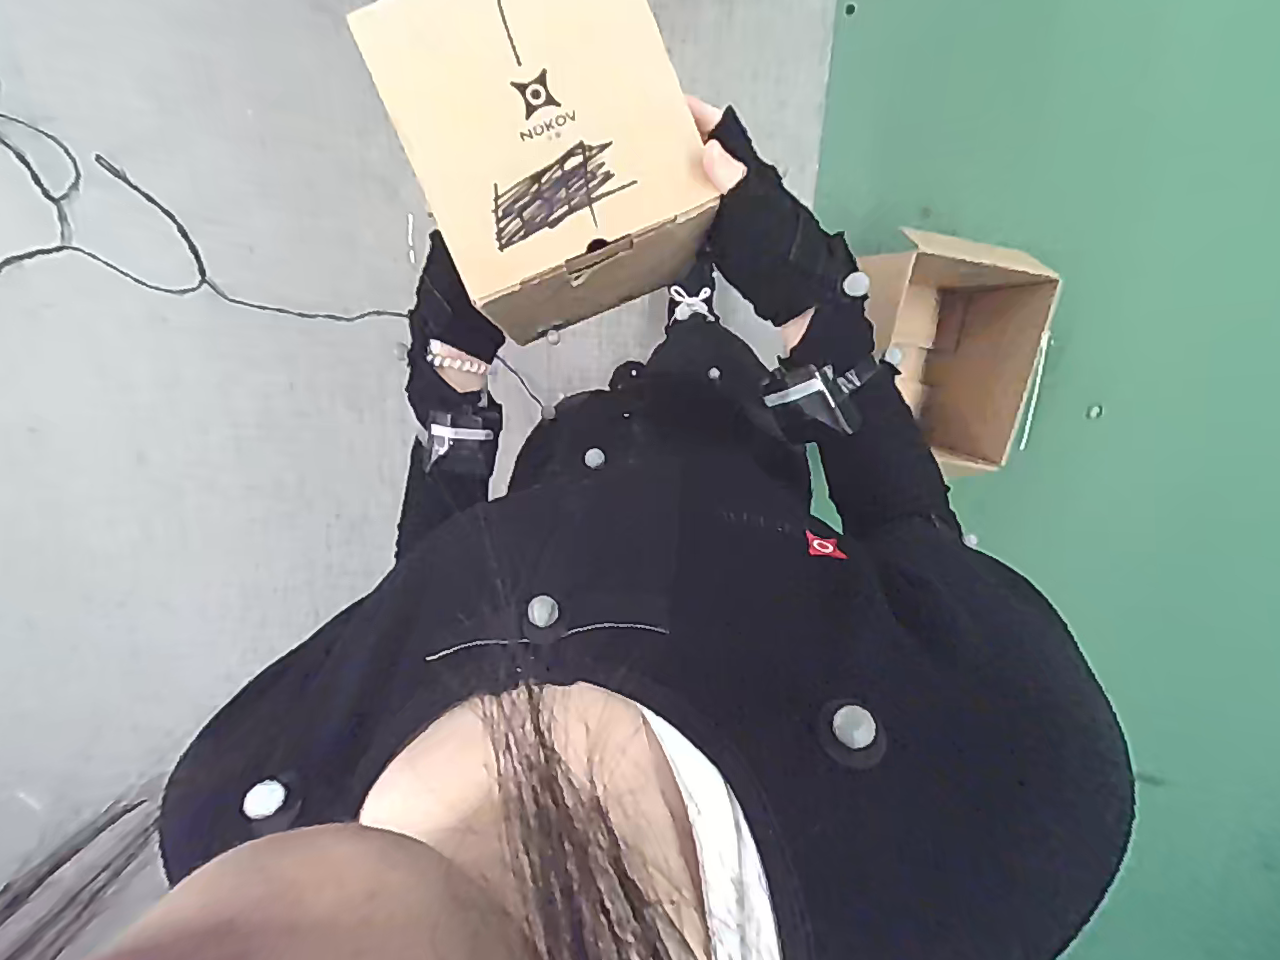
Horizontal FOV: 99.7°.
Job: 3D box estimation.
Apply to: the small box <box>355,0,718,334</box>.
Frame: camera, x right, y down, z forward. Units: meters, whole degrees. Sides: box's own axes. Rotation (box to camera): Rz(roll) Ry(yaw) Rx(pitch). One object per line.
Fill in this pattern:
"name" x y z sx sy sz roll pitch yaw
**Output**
"small box" -0.061 -0.221 0.398 0.168 0.176 0.179 -23 95 -2
